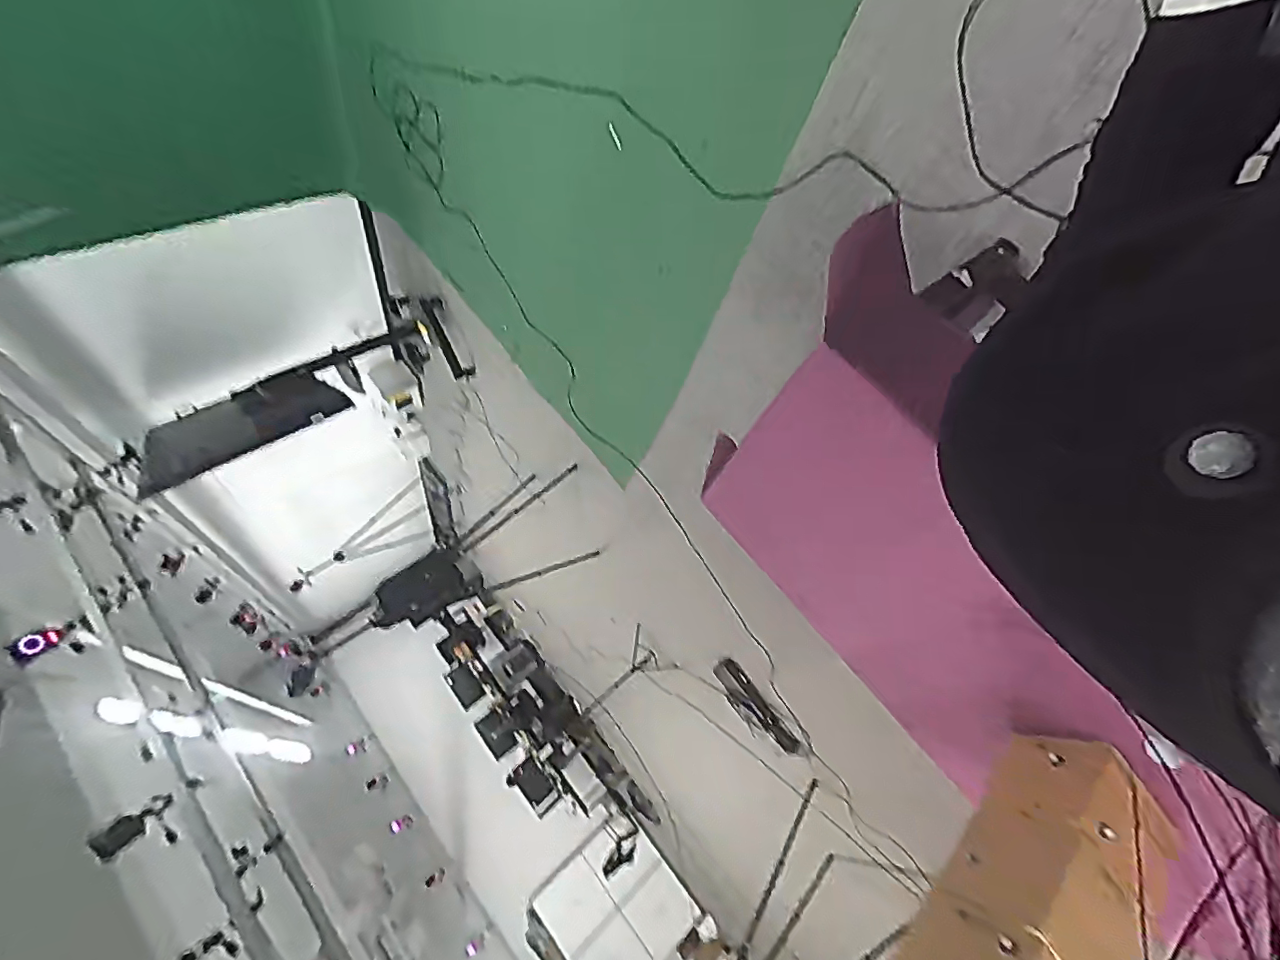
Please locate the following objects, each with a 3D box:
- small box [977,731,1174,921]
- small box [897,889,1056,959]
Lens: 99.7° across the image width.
[{"bbox_3d":[0.713,0.548,0.886,0.179,0.176,0.168,56,151,4],"label":"small box"},{"bbox_3d":[0.475,0.720,0.737,0.179,0.176,0.168,58,152,-3],"label":"small box"}]
